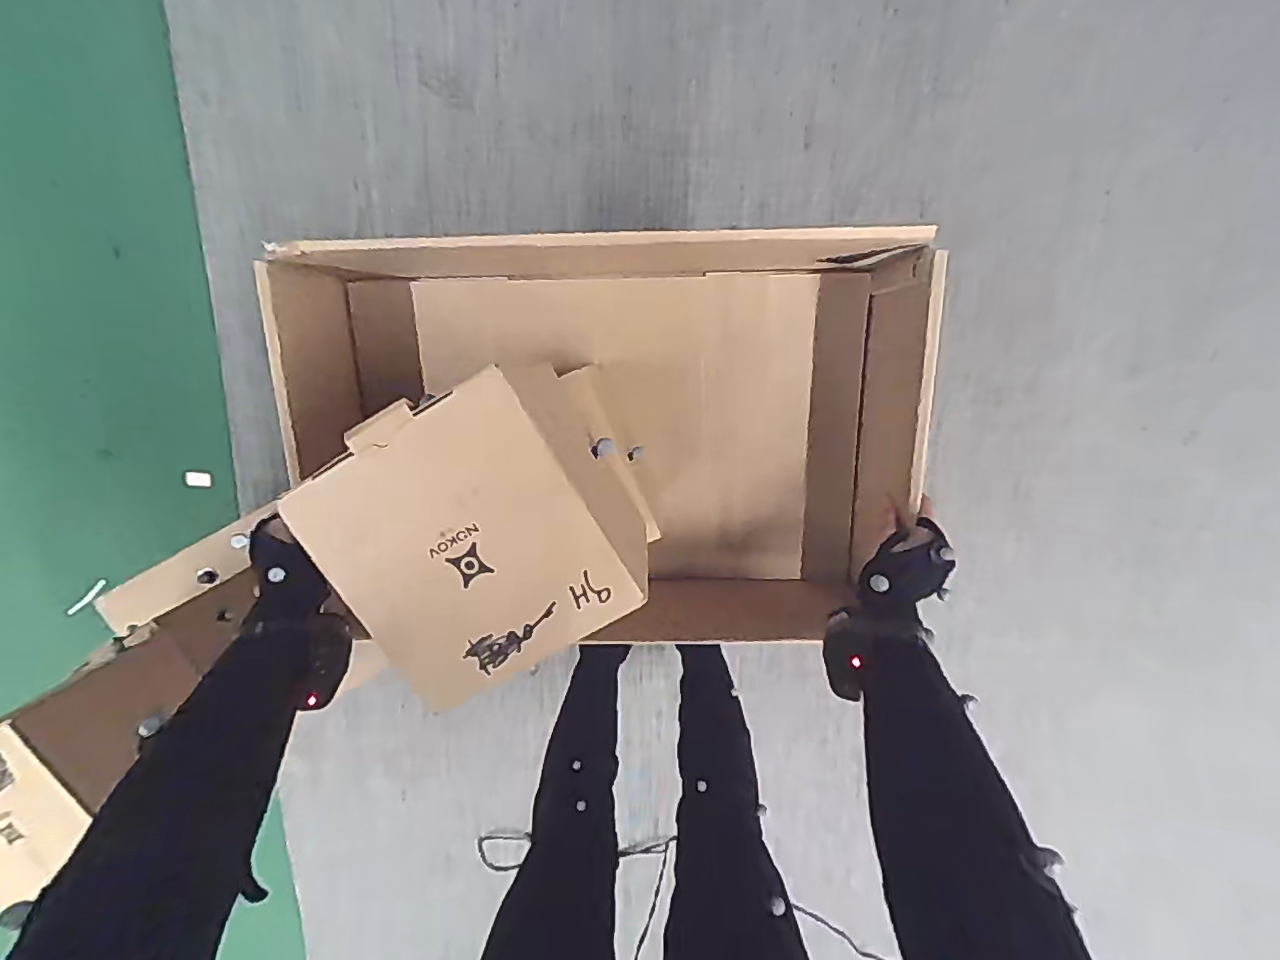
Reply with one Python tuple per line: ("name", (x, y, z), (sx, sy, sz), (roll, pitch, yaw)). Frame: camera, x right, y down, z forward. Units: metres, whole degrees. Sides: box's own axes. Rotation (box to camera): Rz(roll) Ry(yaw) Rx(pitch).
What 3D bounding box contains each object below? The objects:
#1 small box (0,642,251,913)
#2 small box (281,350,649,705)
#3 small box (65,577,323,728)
("small box", (-0.589, 0.303, 0.589), (0.168, 0.176, 0.179), (-27, 102, 7))
("small box", (-0.106, 0.022, 0.410), (0.168, 0.176, 0.179), (-30, 100, 7))
("small box", (-0.594, 0.256, 0.747), (0.168, 0.176, 0.179), (-31, 101, 8))
